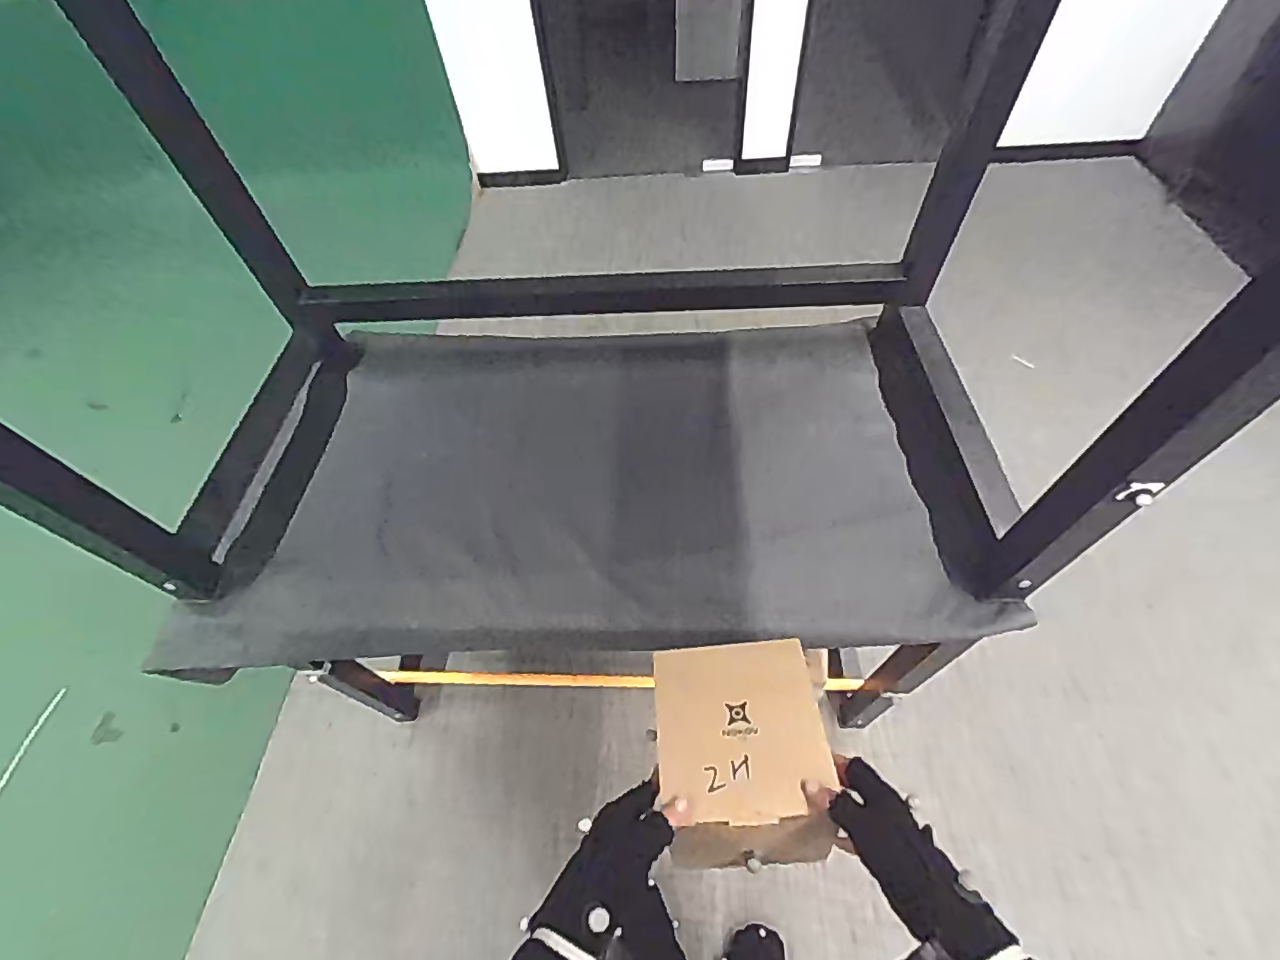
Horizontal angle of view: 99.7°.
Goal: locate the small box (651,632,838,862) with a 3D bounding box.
[{"bbox_3d":[0.103,0.293,0.594,0.168,0.176,0.179,-7,43,5],"label":"small box"}]
